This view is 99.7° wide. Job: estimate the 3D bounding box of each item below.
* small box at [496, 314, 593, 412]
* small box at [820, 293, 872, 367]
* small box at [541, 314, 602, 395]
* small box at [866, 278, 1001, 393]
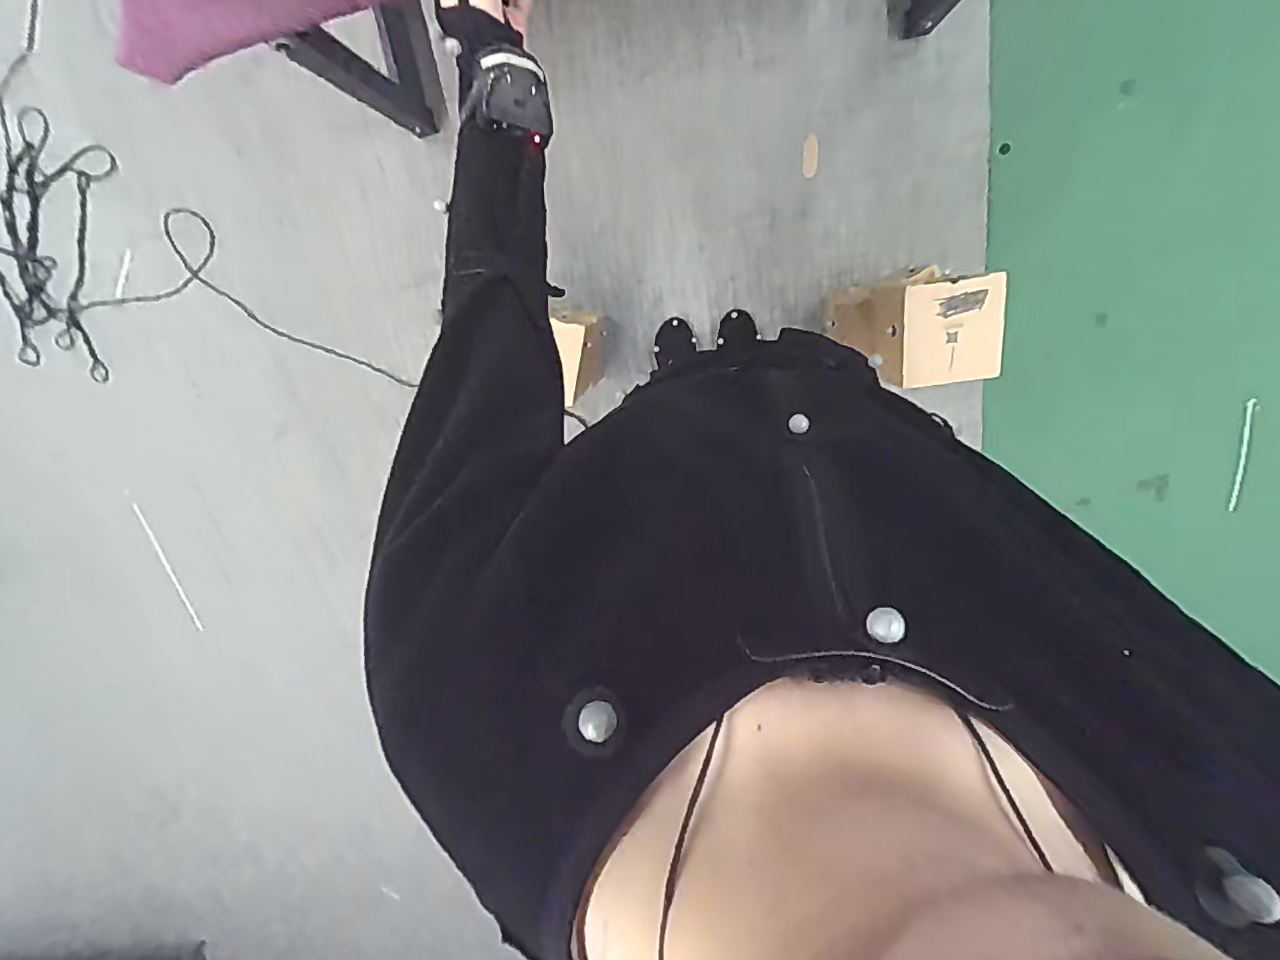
[{"bbox_3d":[-0.209,-0.269,1.217,0.168,0.176,0.179,12,108,0],"label":"small box"},{"bbox_3d":[0.548,-0.365,1.311,0.179,0.176,0.168,2,109,3],"label":"small box"},{"bbox_3d":[-0.192,-0.323,1.369,0.168,0.176,0.179,7,109,2],"label":"small box"},{"bbox_3d":[0.528,-0.268,0.997,0.168,0.176,0.179,-6,109,5],"label":"small box"}]
